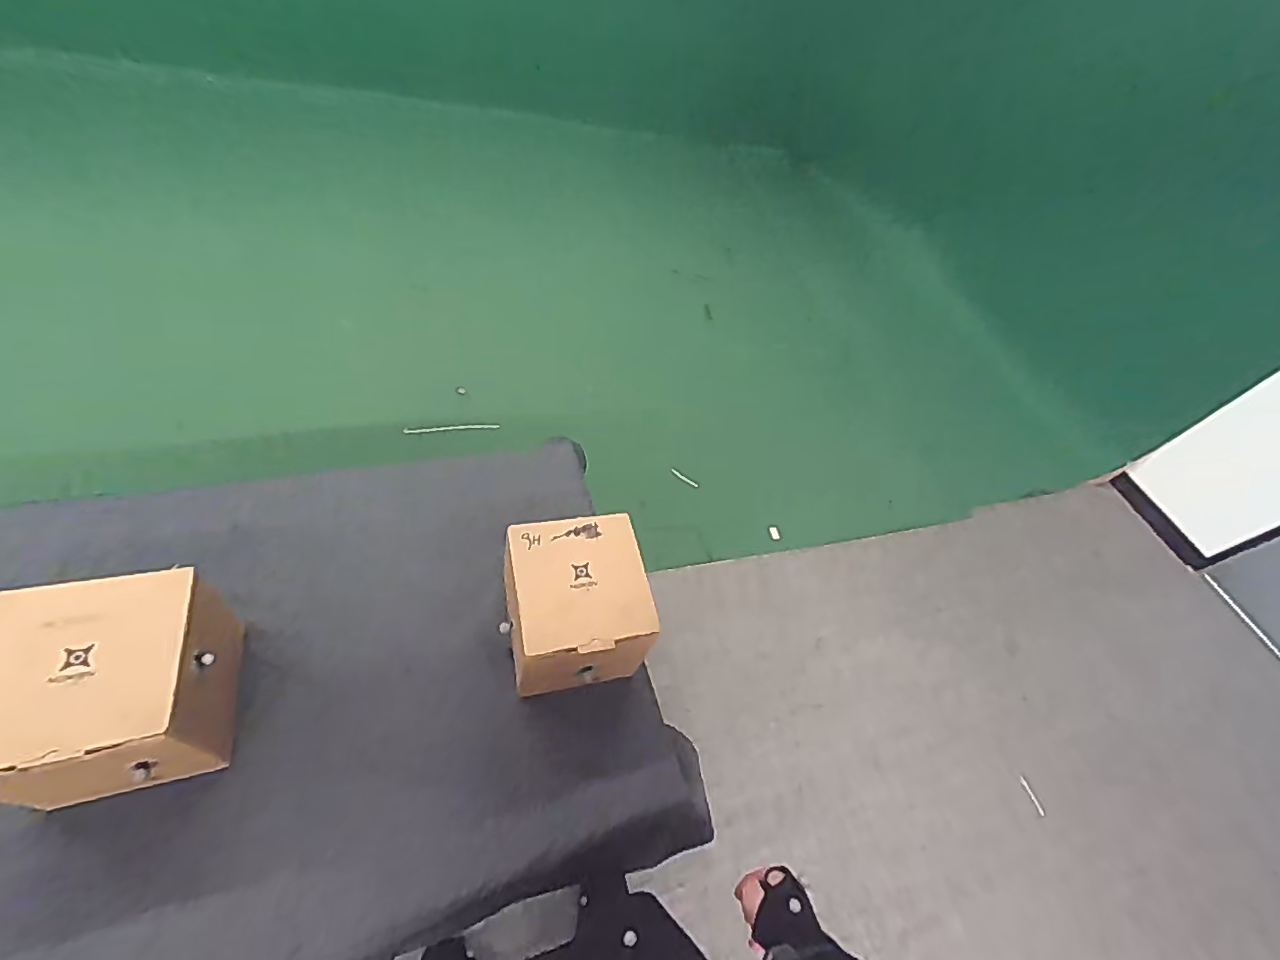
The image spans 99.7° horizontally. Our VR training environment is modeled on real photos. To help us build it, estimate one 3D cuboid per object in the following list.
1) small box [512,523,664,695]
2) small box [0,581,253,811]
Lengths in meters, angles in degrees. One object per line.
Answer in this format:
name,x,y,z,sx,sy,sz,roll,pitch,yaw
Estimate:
small box,-0.082,0.182,0.742,0.168,0.176,0.179,-5,56,-19
small box,-0.541,0.234,0.579,0.168,0.176,0.179,-6,55,-21
